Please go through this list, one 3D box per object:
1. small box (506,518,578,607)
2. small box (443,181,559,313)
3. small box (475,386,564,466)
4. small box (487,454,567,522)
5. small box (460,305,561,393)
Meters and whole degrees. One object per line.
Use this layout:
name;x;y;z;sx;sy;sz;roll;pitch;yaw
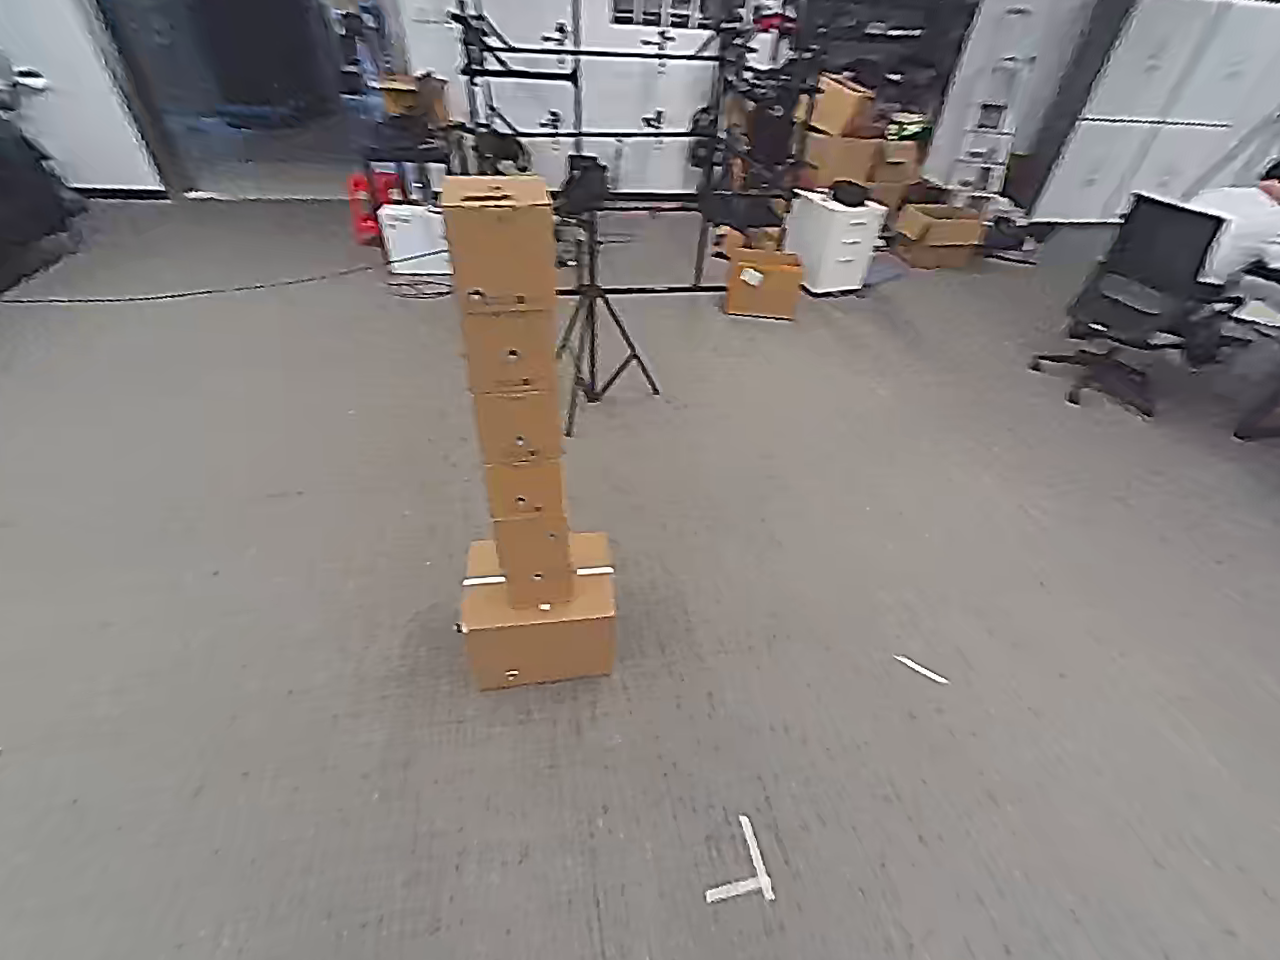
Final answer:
small box;-0.263;0.226;1.456;0.179;0.176;0.168;-5;43;-11
small box;-0.231;-0.394;0.922;0.168;0.176;0.179;-6;42;-11
small box;-0.252;-0.152;1.142;0.168;0.176;0.179;-6;43;-10
small box;-0.258;-0.026;1.248;0.168;0.176;0.179;-5;43;-10
small box;-0.244;-0.278;1.038;0.168;0.176;0.179;-6;43;-11
